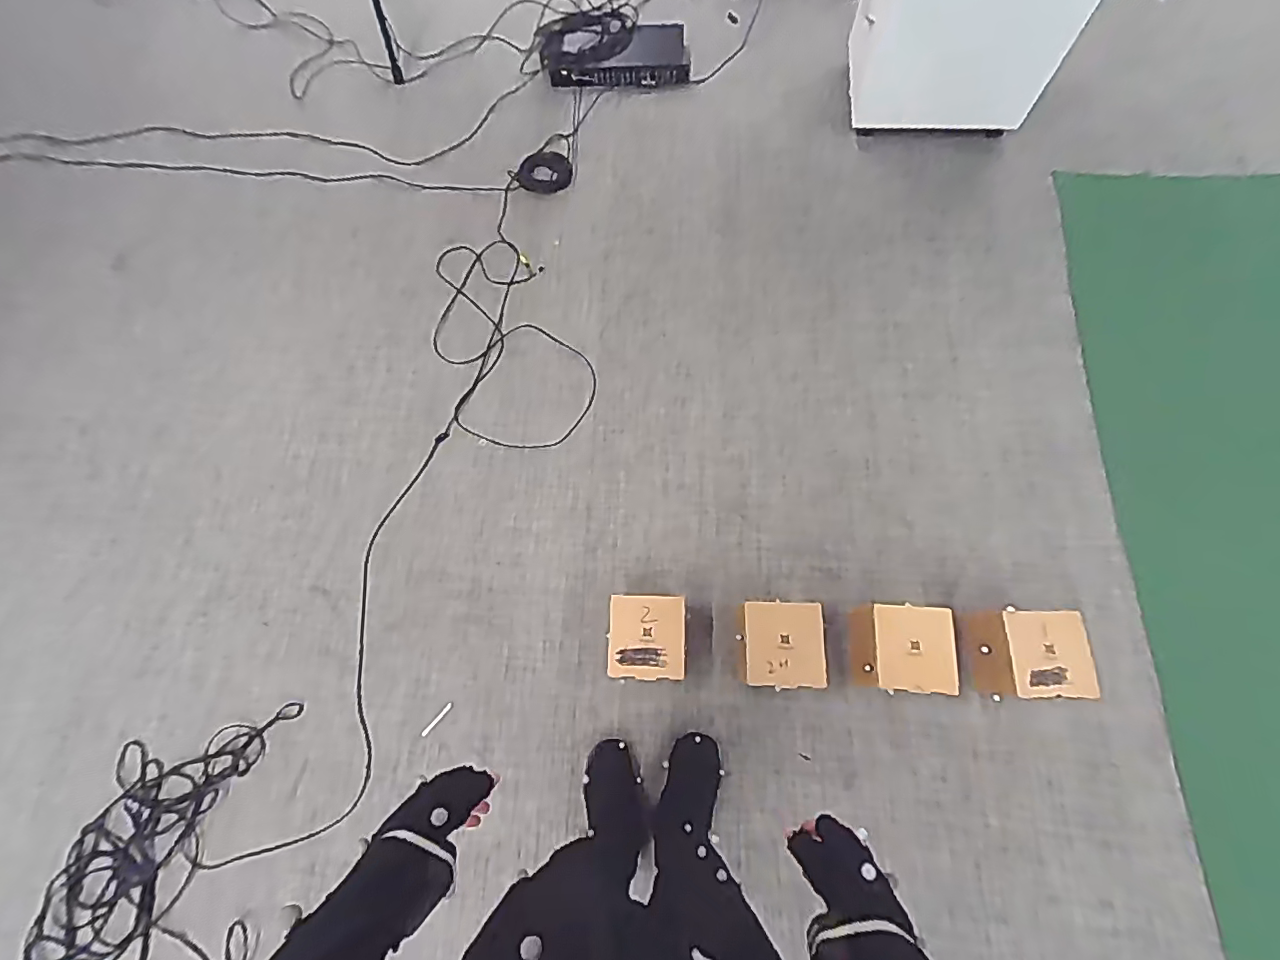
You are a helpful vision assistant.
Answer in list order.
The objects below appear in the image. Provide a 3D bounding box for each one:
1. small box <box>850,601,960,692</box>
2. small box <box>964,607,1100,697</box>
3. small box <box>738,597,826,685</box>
[{"bbox_3d":[0.580,0.370,1.206,0.168,0.176,0.179,3,73,4],"label":"small box"},{"bbox_3d":[0.848,0.376,1.189,0.168,0.176,0.179,0,72,3],"label":"small box"},{"bbox_3d":[0.312,0.364,1.220,0.168,0.176,0.179,0,73,5],"label":"small box"}]
